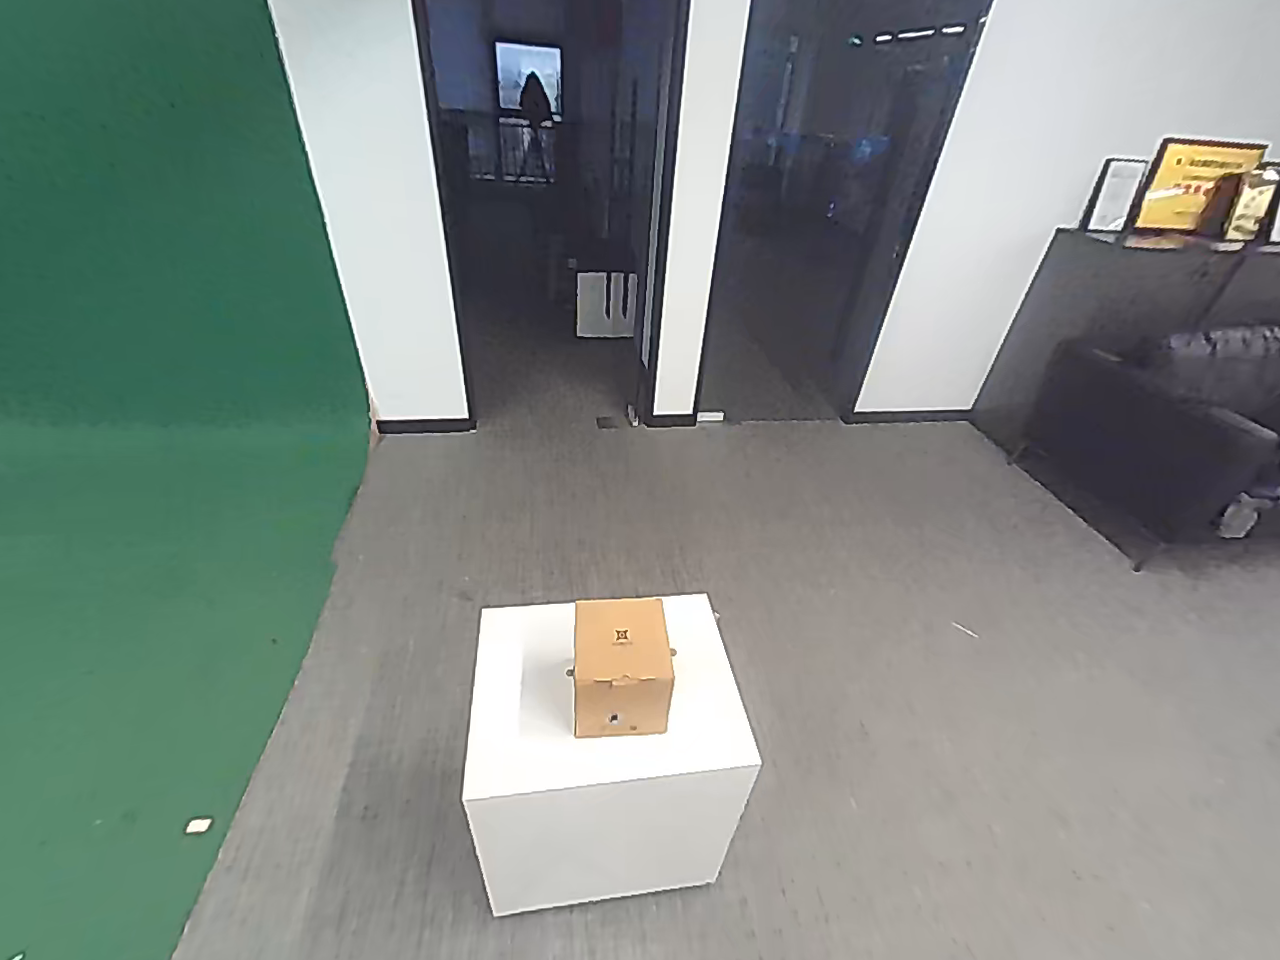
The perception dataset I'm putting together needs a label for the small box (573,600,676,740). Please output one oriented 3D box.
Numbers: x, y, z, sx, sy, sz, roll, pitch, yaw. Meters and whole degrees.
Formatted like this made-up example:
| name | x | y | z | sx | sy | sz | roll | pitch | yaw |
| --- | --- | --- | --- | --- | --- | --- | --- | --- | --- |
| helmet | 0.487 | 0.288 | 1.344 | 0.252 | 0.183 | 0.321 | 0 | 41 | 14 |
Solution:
| name | x | y | z | sx | sy | sz | roll | pitch | yaw |
| --- | --- | --- | --- | --- | --- | --- | --- | --- | --- |
| small box | -0.036 | 0.340 | 0.977 | 0.168 | 0.176 | 0.179 | 0 | 35 | -7 |
